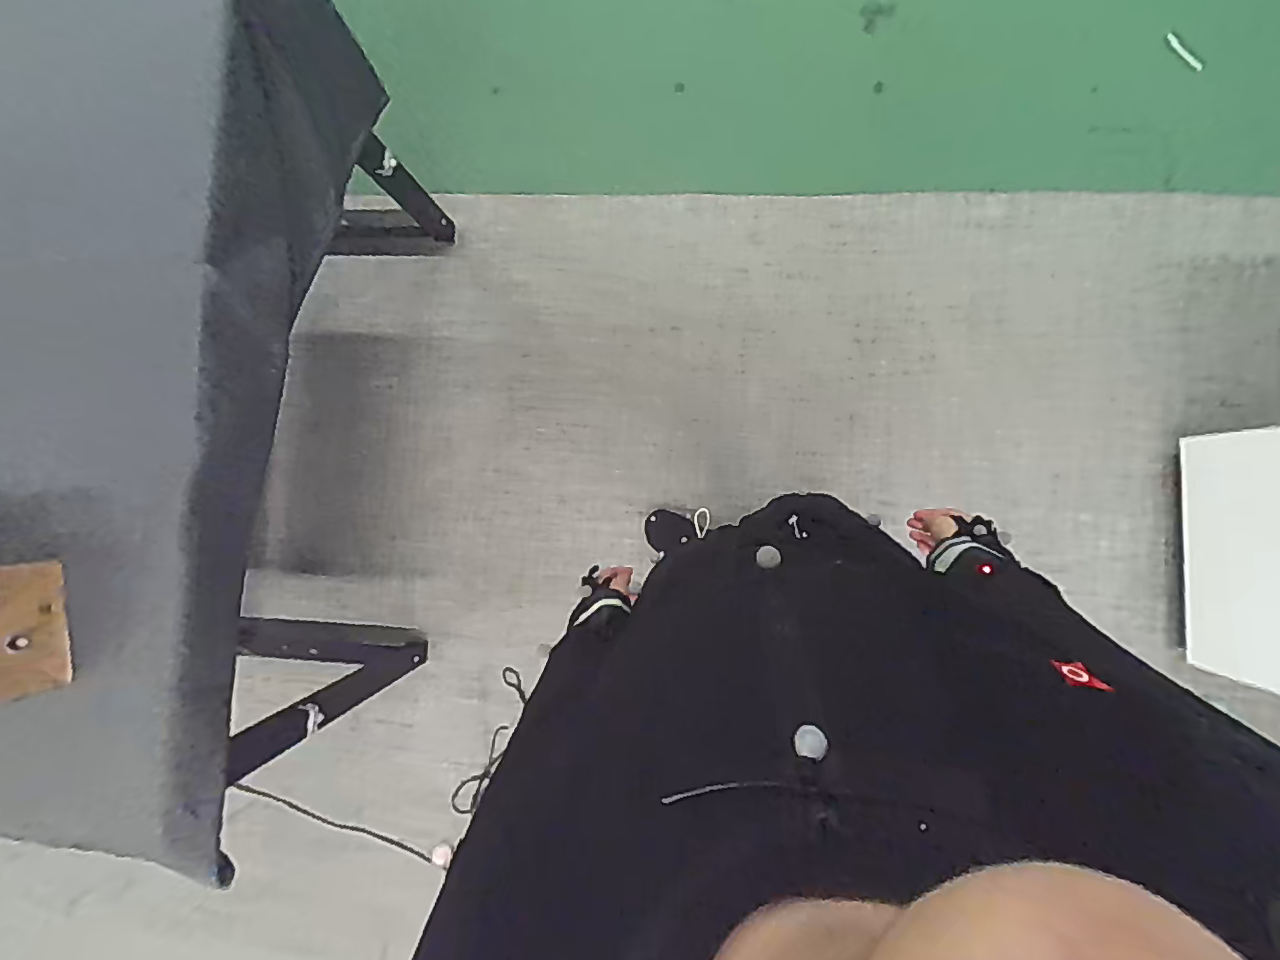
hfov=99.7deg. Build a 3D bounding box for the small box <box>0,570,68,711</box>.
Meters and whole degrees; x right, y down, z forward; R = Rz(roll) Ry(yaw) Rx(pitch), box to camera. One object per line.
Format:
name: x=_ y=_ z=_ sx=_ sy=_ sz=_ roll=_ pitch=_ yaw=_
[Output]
small box: x=-0.850 y=0.205 z=0.641 sx=0.179 sy=0.176 sz=0.168 roll=-9 pitch=86 yaw=5
